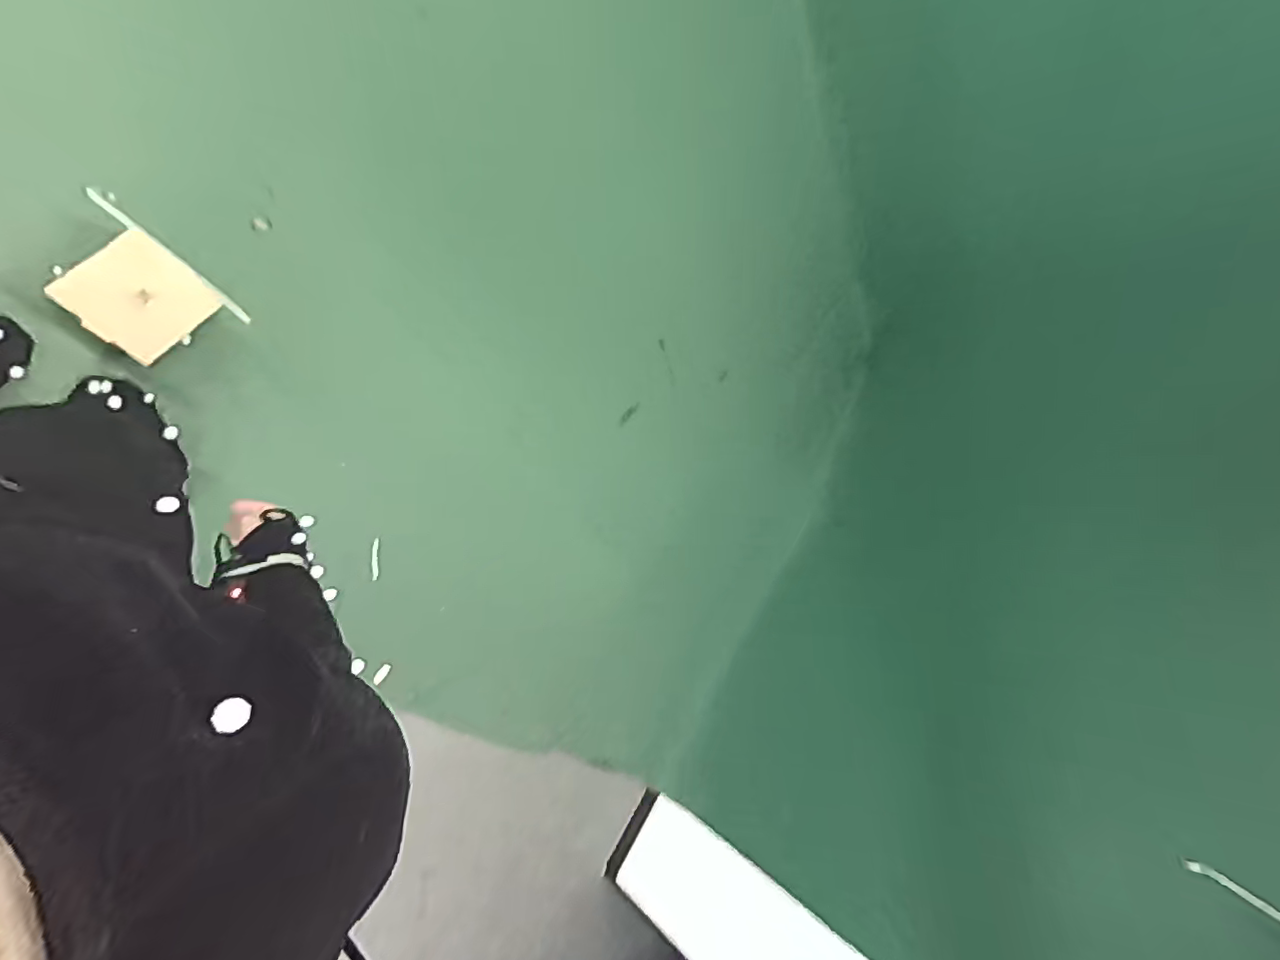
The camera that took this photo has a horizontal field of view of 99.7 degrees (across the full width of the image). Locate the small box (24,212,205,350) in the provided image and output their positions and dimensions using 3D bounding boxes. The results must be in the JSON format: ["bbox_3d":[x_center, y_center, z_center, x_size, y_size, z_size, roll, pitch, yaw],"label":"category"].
[{"bbox_3d":[-0.964,-0.366,0.994,0.179,0.176,0.168,-53,137,-19],"label":"small box"}]
